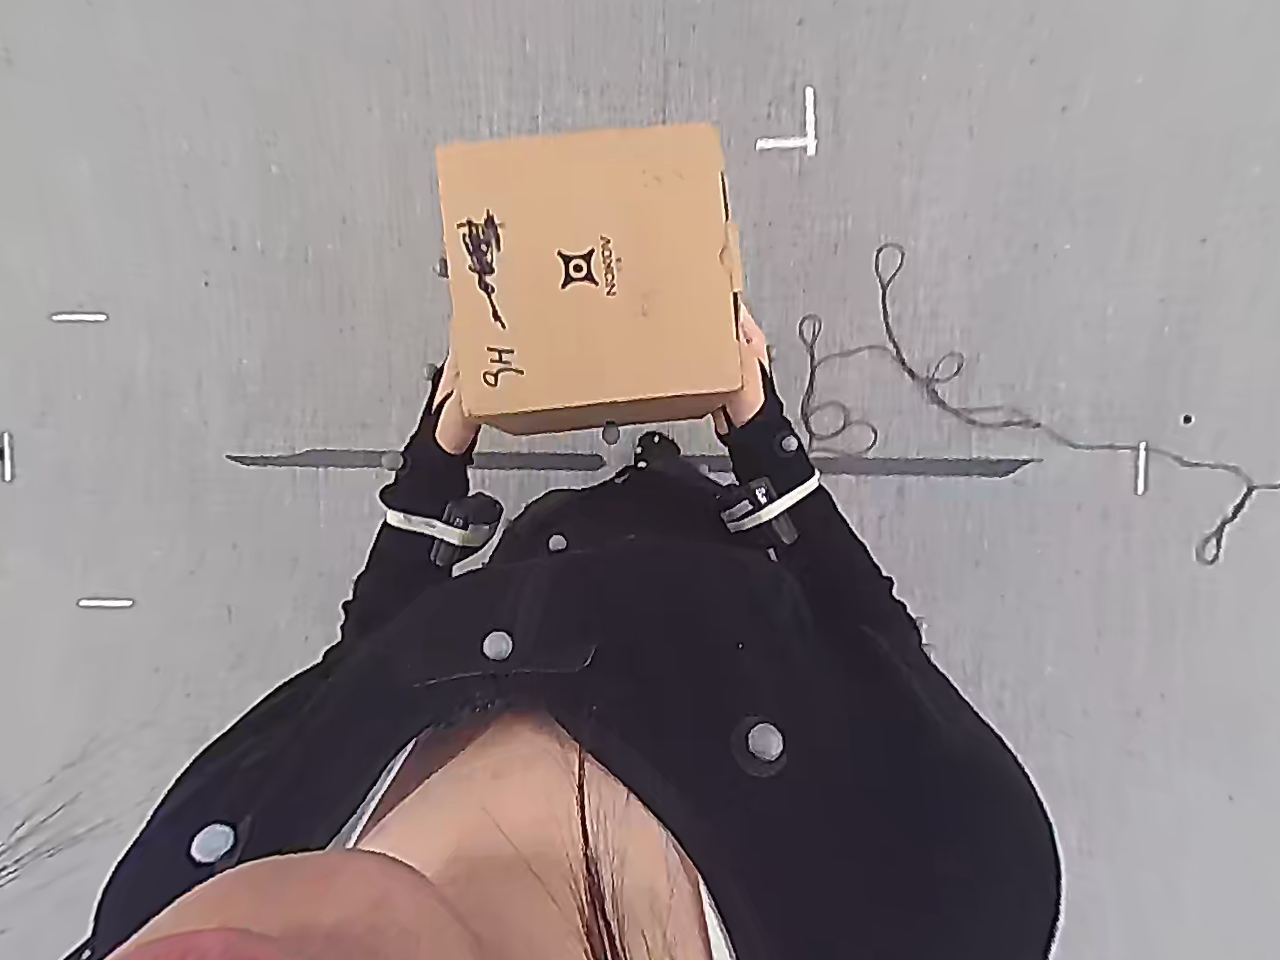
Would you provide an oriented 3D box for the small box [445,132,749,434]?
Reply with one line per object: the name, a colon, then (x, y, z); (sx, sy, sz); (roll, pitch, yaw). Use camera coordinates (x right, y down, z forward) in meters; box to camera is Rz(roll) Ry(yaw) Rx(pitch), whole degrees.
small box: (-0.030, -0.129, 0.412); (0.179, 0.176, 0.168); (-6, 91, -4)
